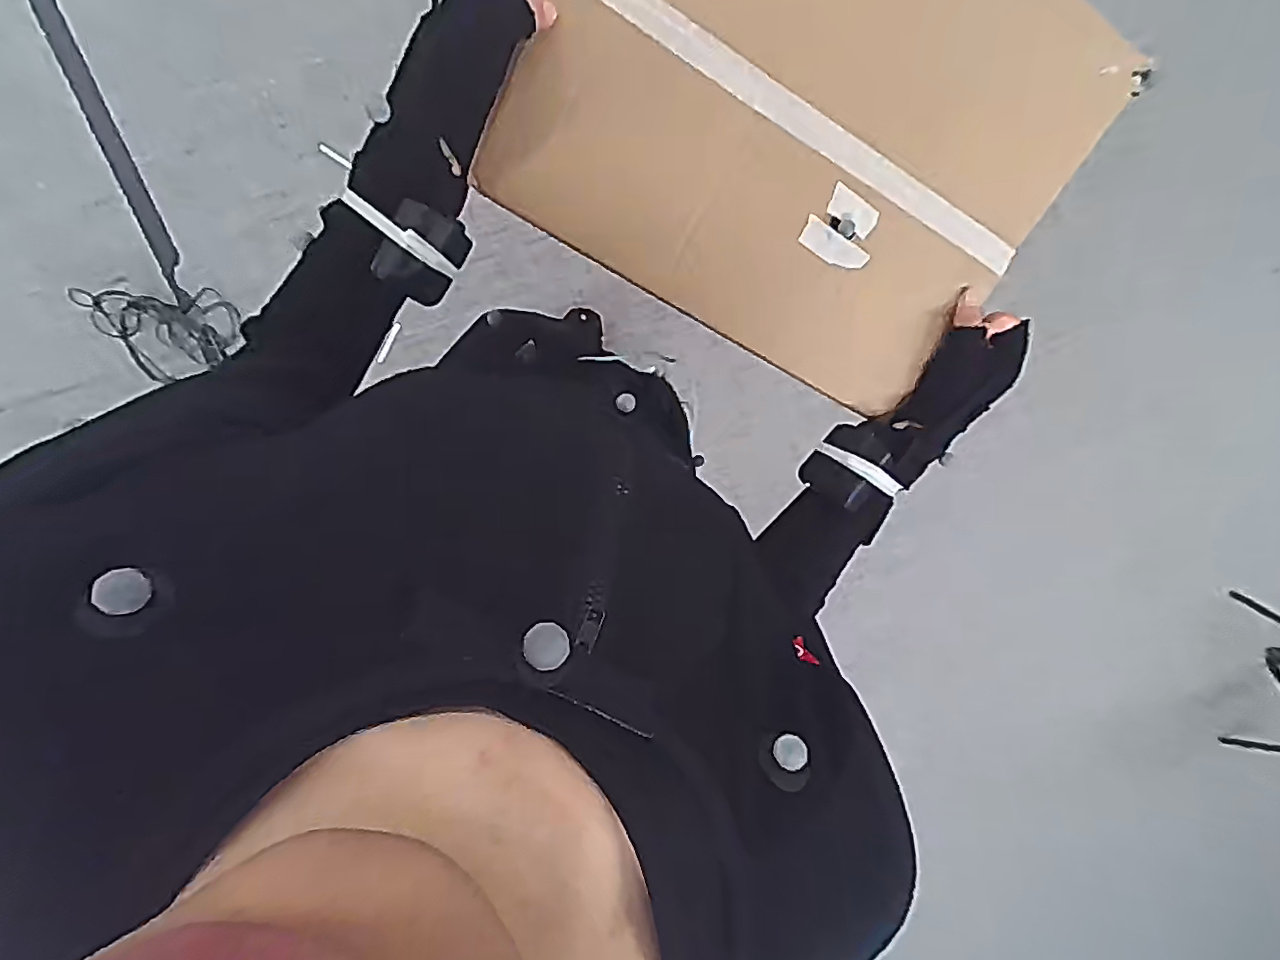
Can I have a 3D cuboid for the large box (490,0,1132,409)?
[{"bbox_3d":[0.118,-0.328,0.546,0.408,0.320,0.320,27,110,-13],"label":"large box"}]
